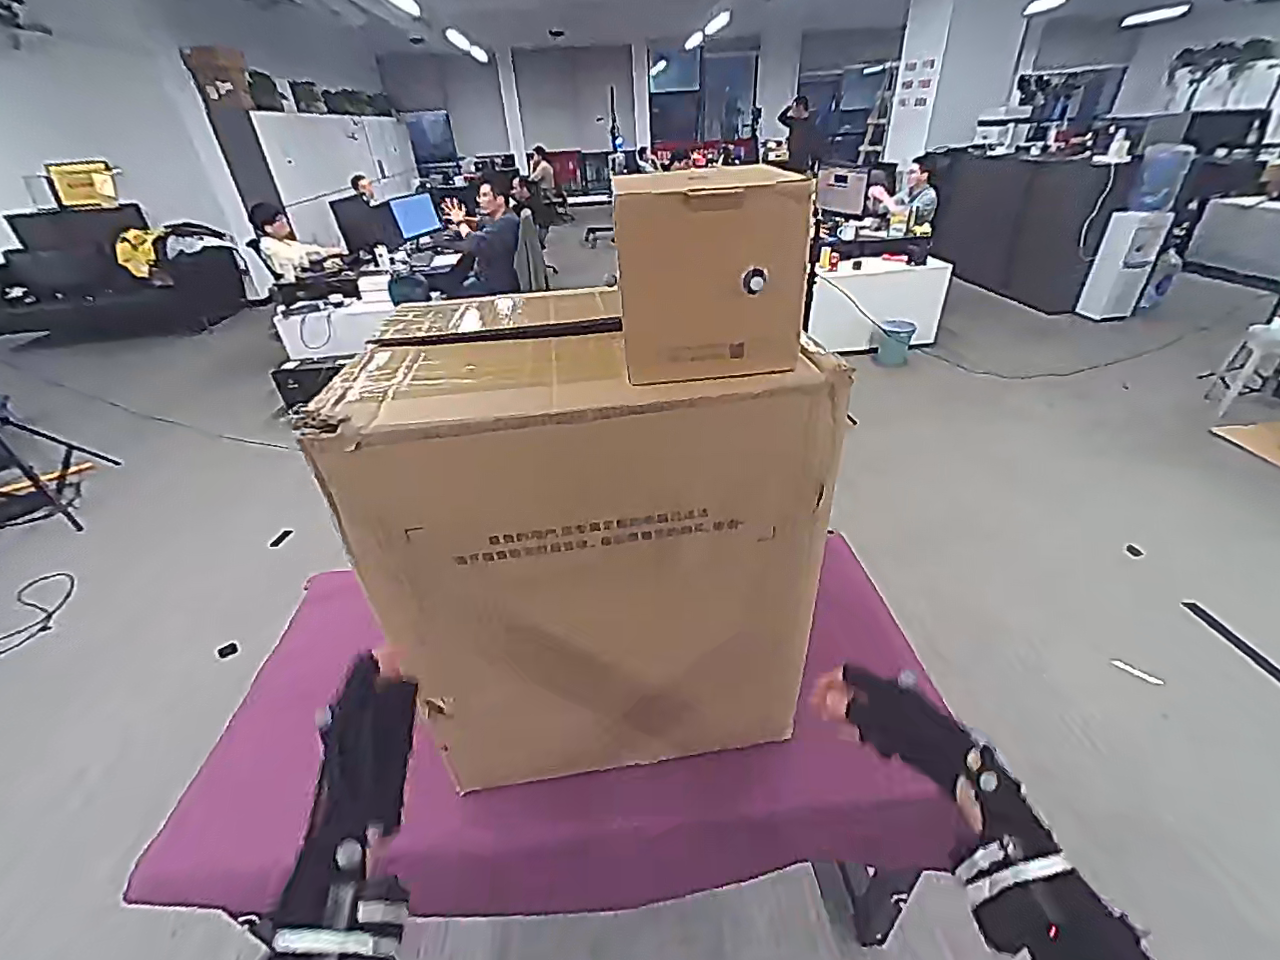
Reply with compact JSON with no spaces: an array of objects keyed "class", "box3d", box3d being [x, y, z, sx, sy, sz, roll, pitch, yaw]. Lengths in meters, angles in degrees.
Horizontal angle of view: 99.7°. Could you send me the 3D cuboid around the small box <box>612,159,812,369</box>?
[{"class":"small box","box3d":[0.061,-0.217,0.546,0.168,0.176,0.179,-5,32,-1]}]
